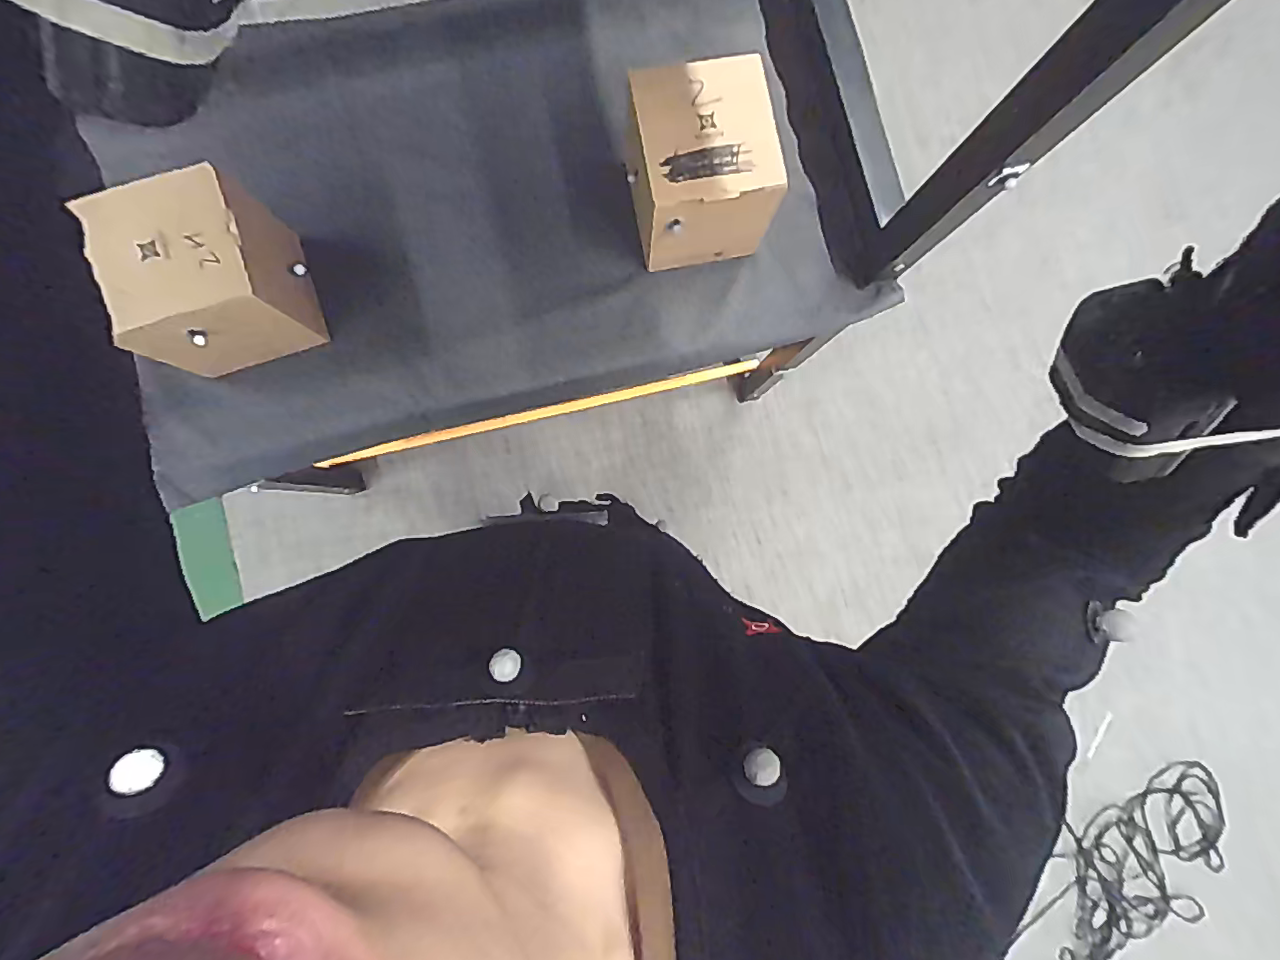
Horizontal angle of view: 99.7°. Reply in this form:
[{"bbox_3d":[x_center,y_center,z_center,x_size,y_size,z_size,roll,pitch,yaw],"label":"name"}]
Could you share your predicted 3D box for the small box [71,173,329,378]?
[{"bbox_3d":[-0.545,-0.247,0.694,0.179,0.176,0.168,-18,87,-5],"label":"small box"}]
